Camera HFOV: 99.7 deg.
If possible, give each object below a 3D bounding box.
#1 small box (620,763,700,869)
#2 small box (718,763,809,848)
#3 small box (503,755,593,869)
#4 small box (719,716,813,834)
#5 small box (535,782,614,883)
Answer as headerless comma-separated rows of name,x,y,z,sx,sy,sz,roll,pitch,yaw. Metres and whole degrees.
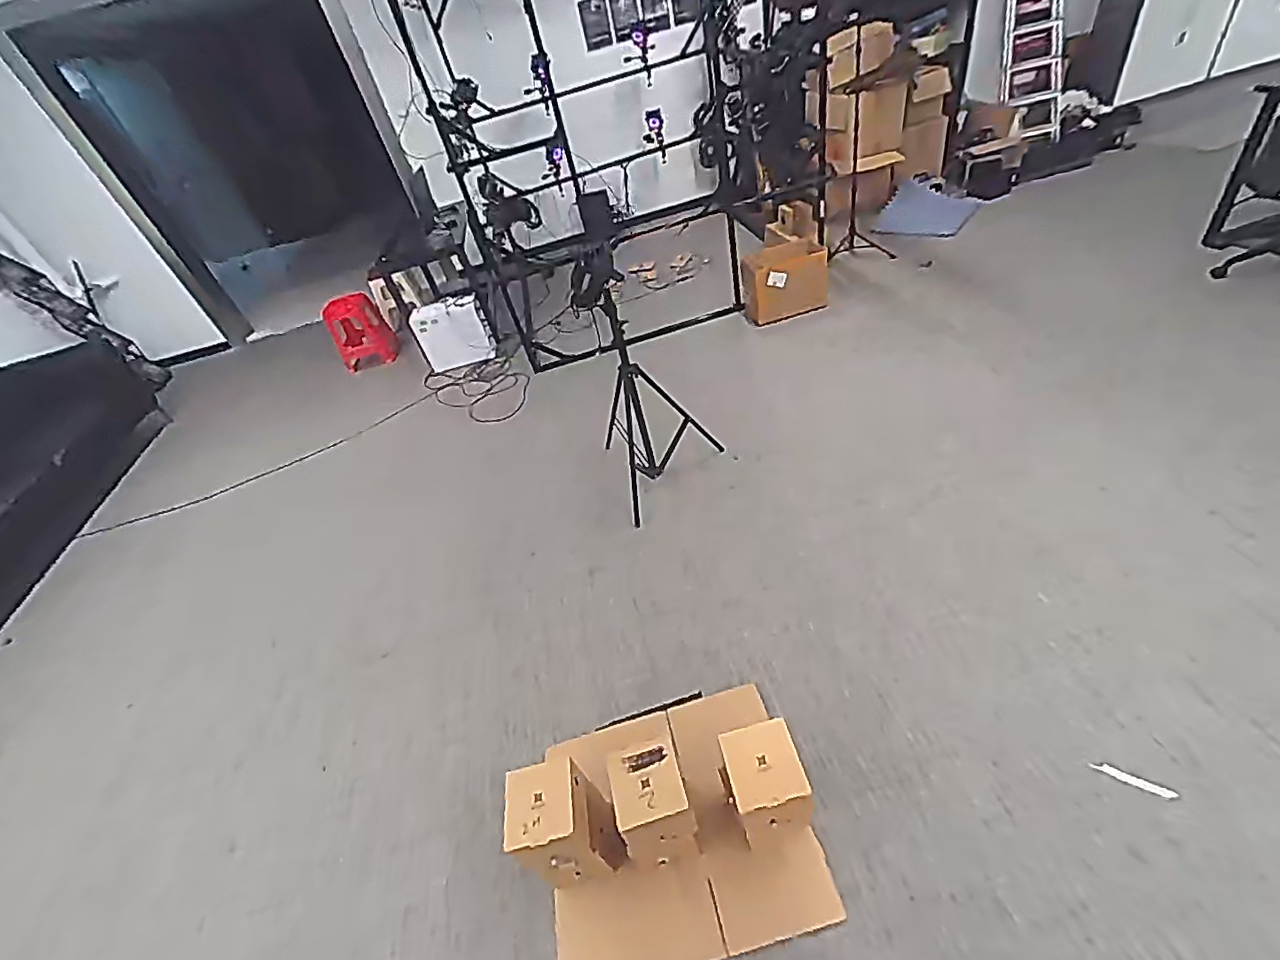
small box,0.051,0.873,1.404,0.168,0.176,0.179,-15,41,2
small box,0.322,0.807,1.389,0.179,0.176,0.168,-23,42,-8
small box,-0.220,0.807,1.313,0.168,0.176,0.179,-16,41,2
small box,0.294,0.695,1.273,0.168,0.176,0.179,-16,41,0
small box,-0.172,0.928,1.416,0.168,0.176,0.179,-16,42,1
